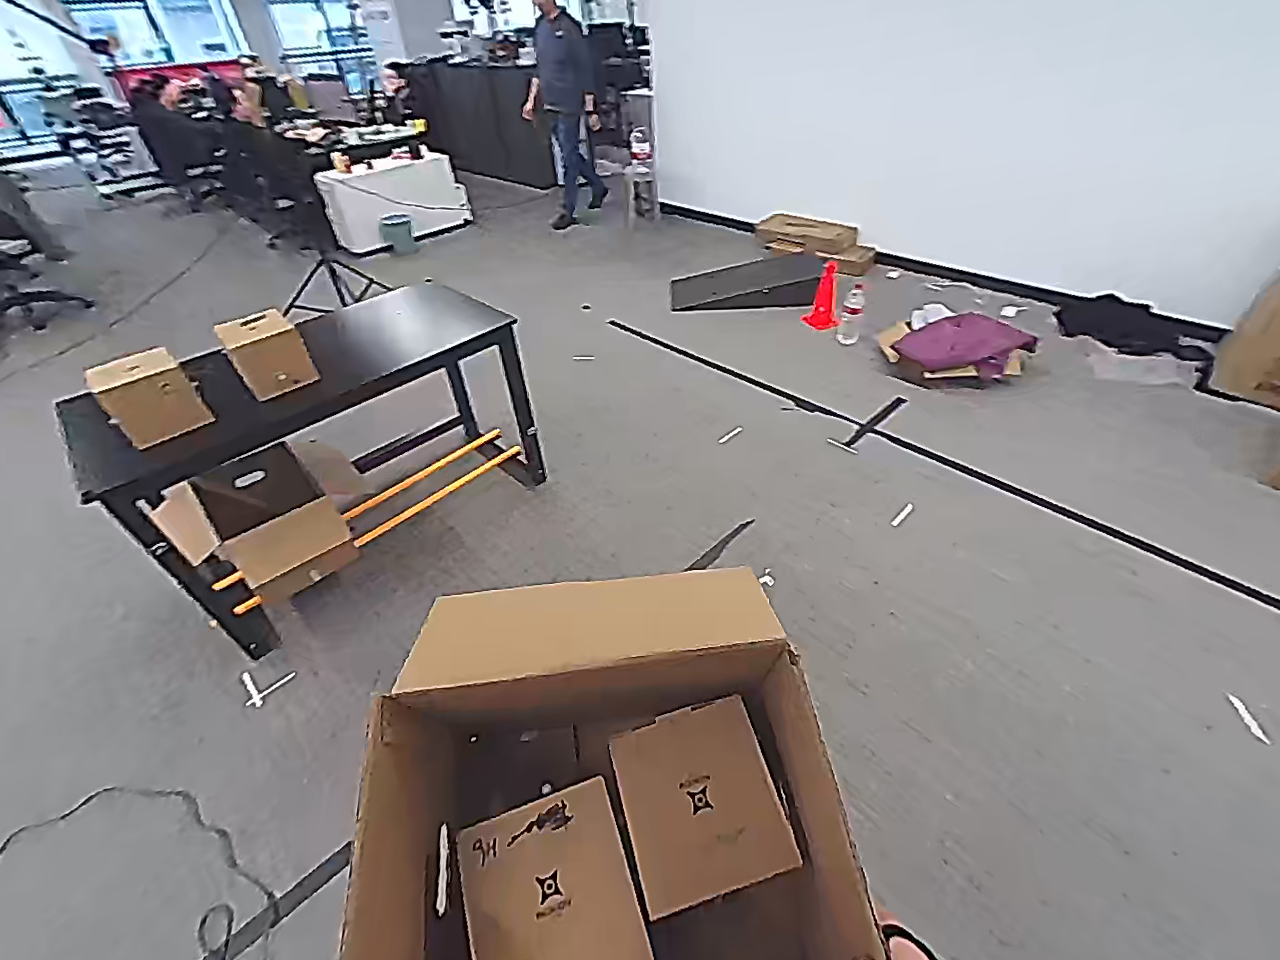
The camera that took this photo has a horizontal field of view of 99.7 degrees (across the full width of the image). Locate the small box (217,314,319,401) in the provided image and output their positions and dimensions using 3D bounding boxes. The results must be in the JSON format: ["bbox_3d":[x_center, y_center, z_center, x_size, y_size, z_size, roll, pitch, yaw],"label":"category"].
[{"bbox_3d":[-1.065,-0.351,1.555,0.168,0.176,0.179,-34,50,-30],"label":"small box"}]

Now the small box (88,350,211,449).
[{"bbox_3d":[-1.262,-0.210,1.405,0.168,0.176,0.179,31,51,34],"label":"small box"}]
